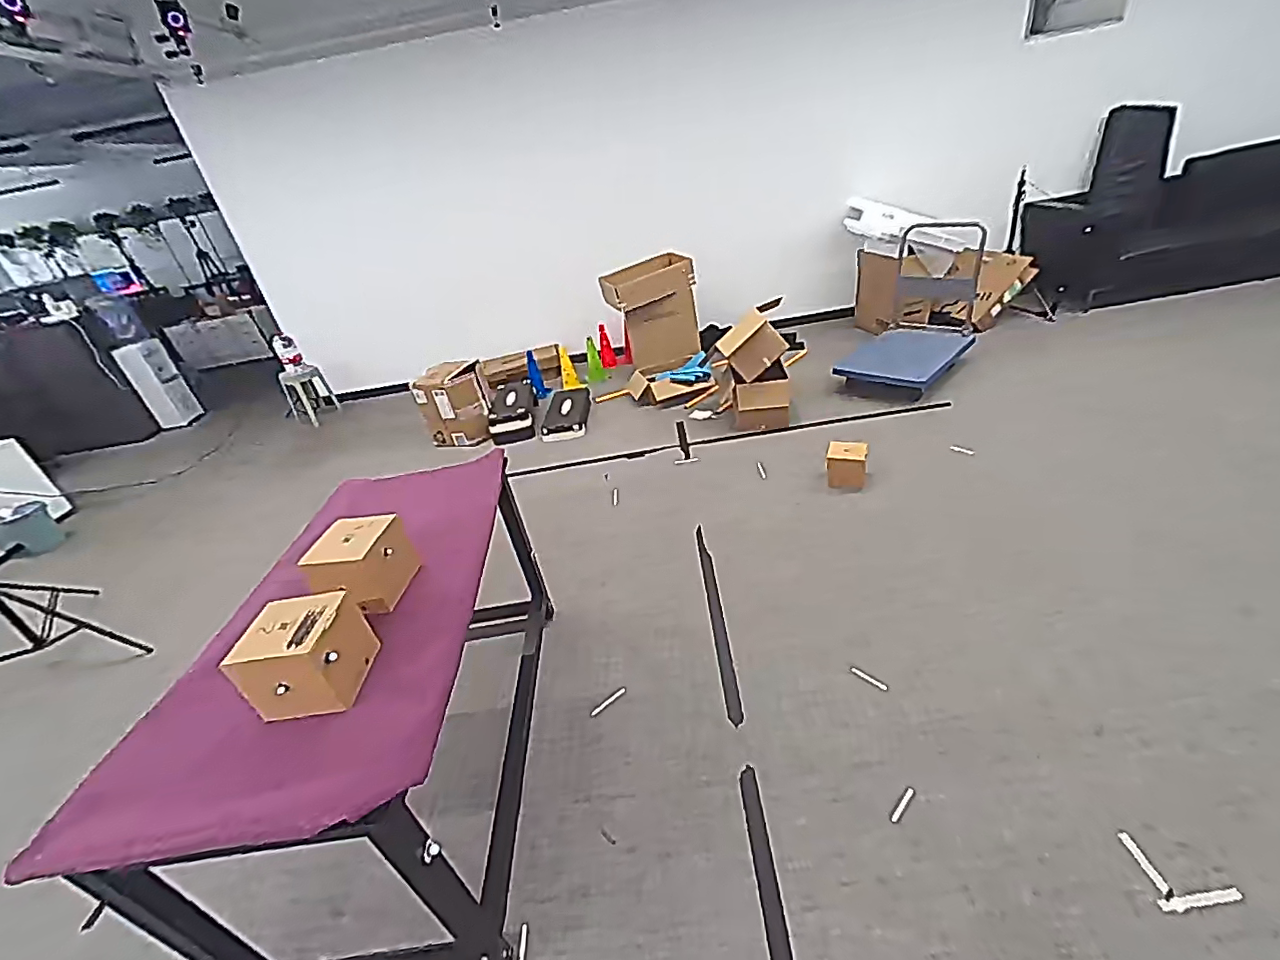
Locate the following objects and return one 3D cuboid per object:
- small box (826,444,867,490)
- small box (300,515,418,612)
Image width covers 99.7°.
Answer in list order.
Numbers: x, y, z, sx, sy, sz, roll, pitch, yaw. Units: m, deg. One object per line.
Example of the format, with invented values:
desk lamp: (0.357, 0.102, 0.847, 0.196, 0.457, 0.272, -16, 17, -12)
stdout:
small box: (1.024, -0.063, 2.687, 0.179, 0.176, 0.168, 5, 34, 24)
small box: (-0.672, 0.207, 1.321, 0.168, 0.176, 0.179, -5, 31, 9)
